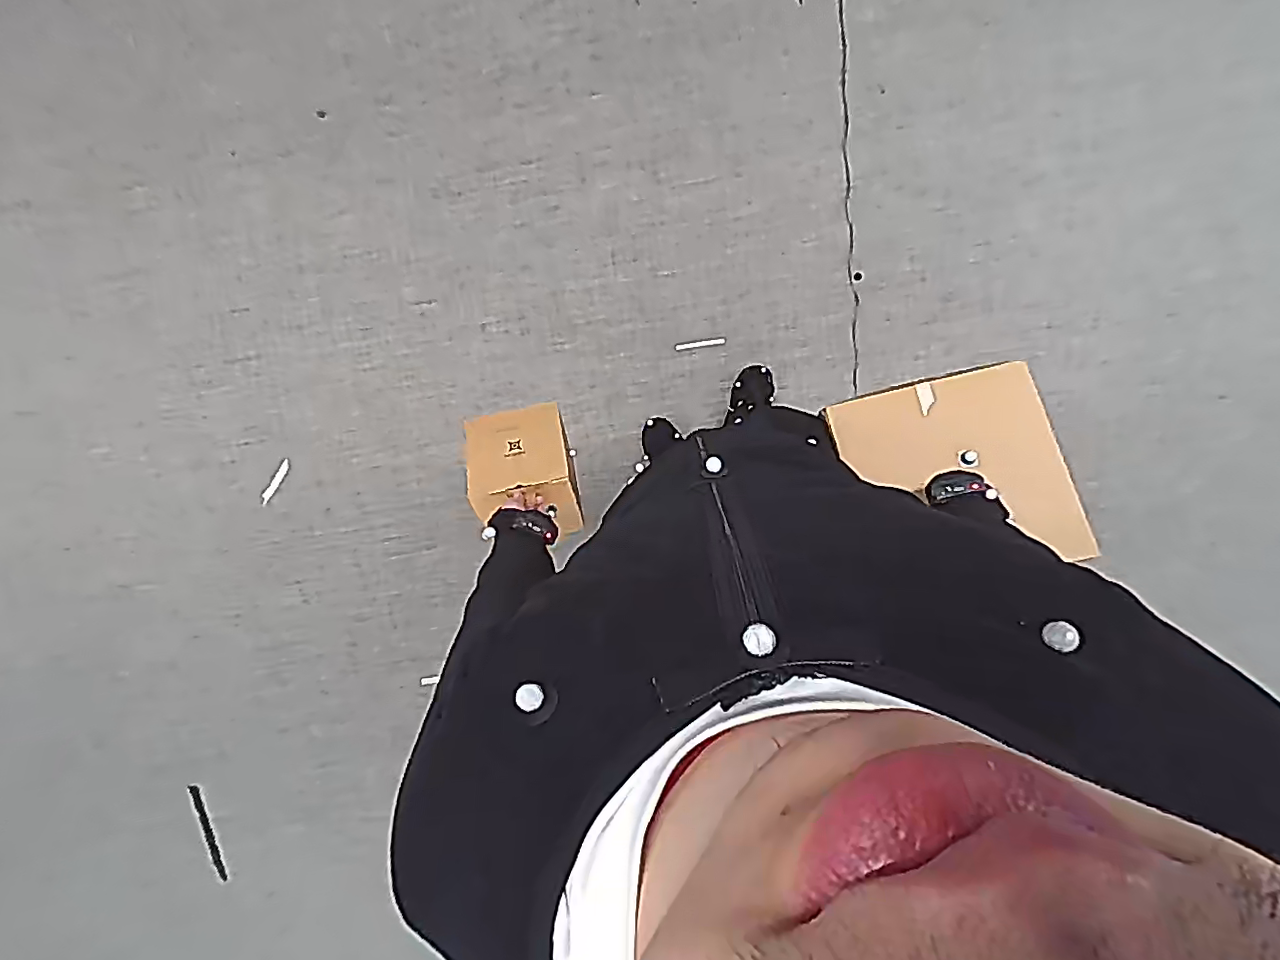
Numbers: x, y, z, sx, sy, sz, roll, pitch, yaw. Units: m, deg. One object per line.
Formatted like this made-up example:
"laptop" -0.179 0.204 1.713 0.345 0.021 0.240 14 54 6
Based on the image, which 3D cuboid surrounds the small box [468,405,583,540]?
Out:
"small box" -0.205 -0.006 0.987 0.168 0.176 0.179 -12 54 -5
